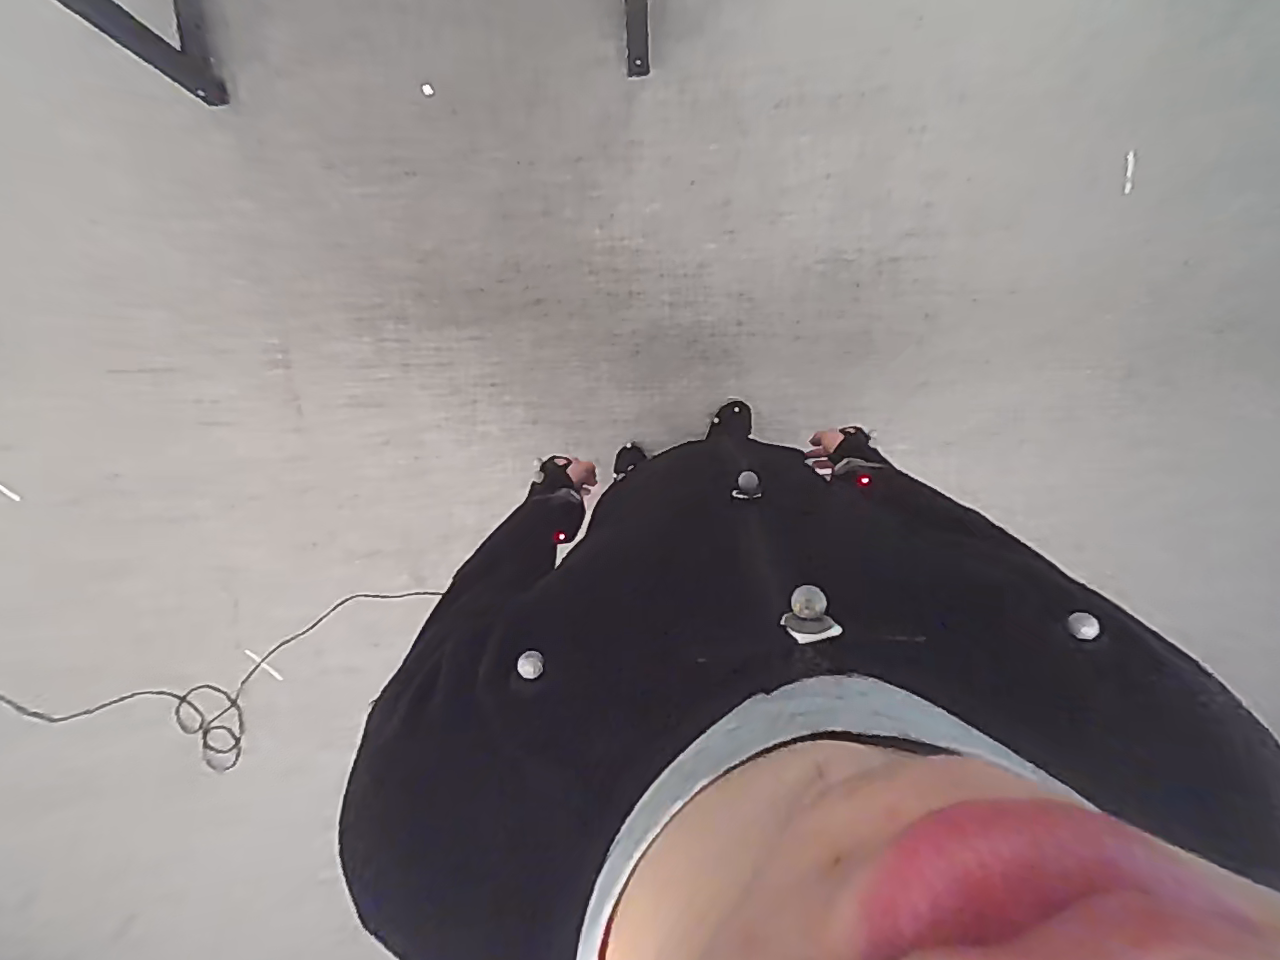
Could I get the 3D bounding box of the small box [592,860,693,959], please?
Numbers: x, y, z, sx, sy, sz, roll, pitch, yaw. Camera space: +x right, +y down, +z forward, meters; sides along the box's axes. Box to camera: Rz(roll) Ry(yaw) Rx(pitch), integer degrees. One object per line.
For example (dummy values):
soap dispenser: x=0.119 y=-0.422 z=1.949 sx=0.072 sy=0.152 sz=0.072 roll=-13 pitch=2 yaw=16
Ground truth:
small box: x=0.010 y=0.836 z=0.981 sx=0.168 sy=0.176 sz=0.179 roll=-5 pitch=98 yaw=2
